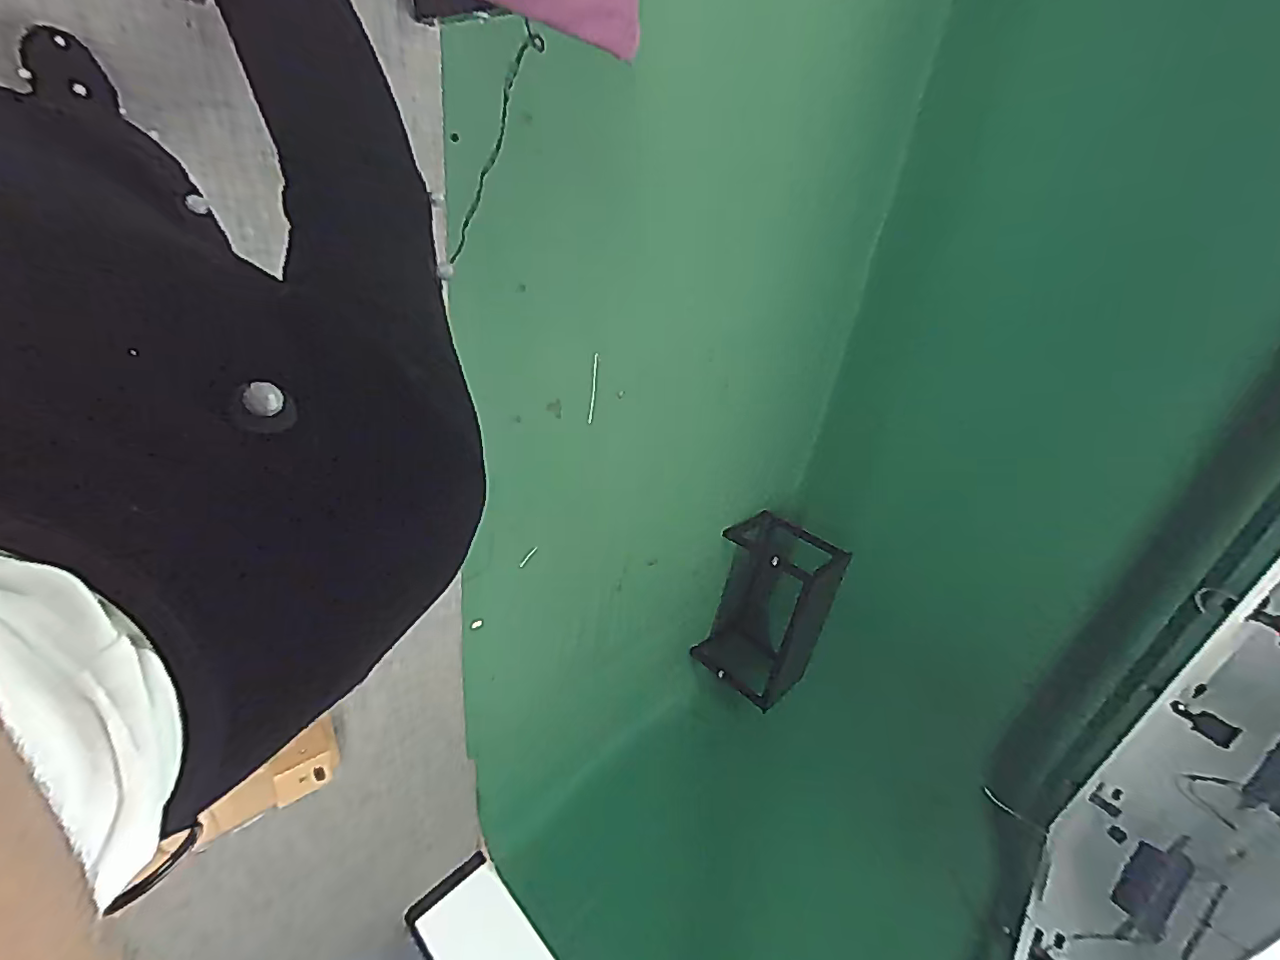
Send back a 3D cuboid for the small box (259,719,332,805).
[{"bbox_3d":[-1.221,0.991,1.917,0.179,0.176,0.168,-14,125,-44],"label":"small box"}]
